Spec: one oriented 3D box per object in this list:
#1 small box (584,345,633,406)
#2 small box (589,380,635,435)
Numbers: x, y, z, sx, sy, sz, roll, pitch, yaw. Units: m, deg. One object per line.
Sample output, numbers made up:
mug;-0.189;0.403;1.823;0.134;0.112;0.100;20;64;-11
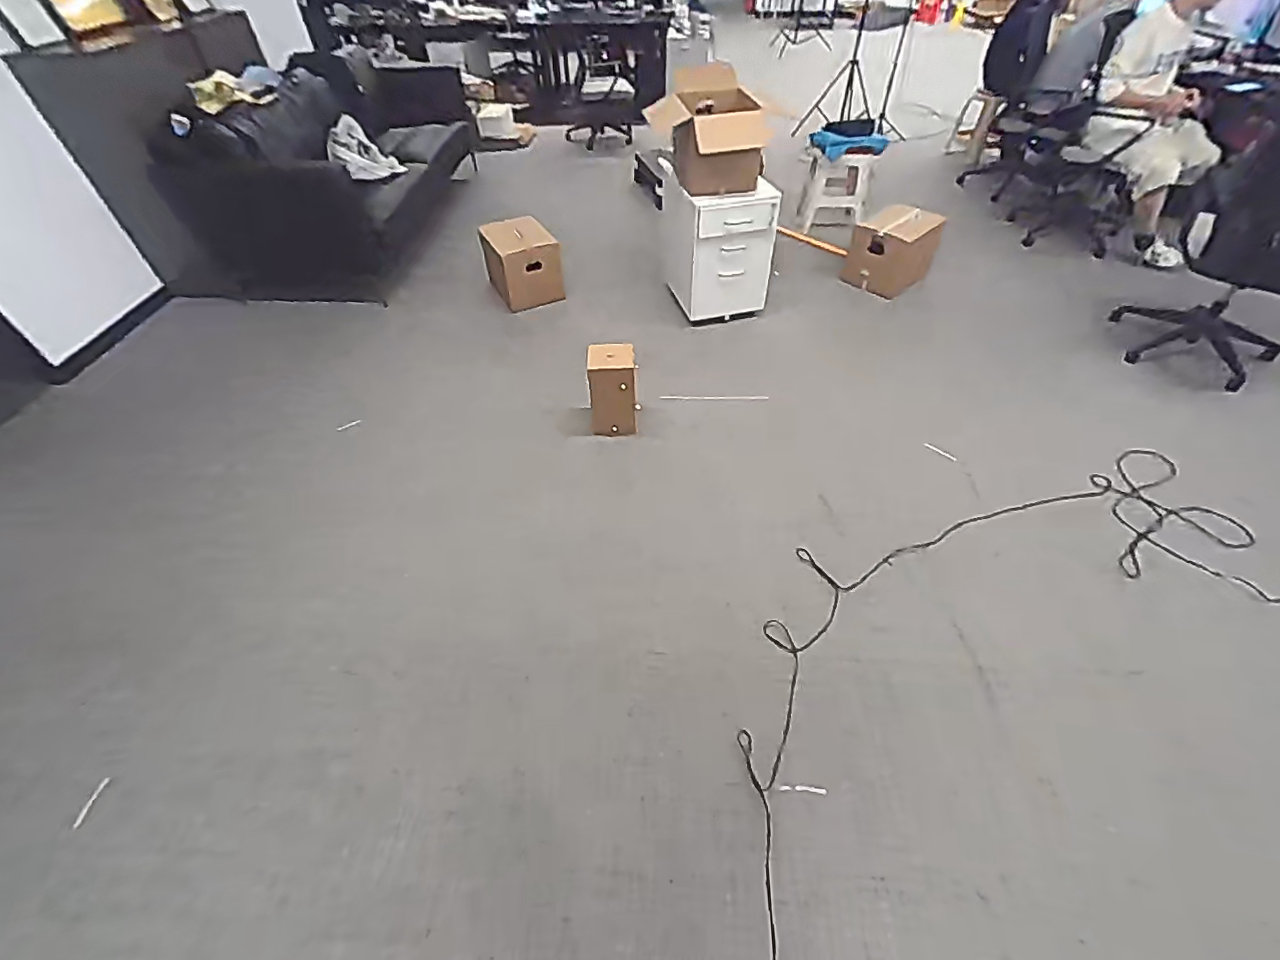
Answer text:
small box;-0.116;-0.402;2.092;0.179;0.176;0.168;-3;46;1
small box;-0.111;-0.299;2.219;0.179;0.176;0.168;0;47;2
